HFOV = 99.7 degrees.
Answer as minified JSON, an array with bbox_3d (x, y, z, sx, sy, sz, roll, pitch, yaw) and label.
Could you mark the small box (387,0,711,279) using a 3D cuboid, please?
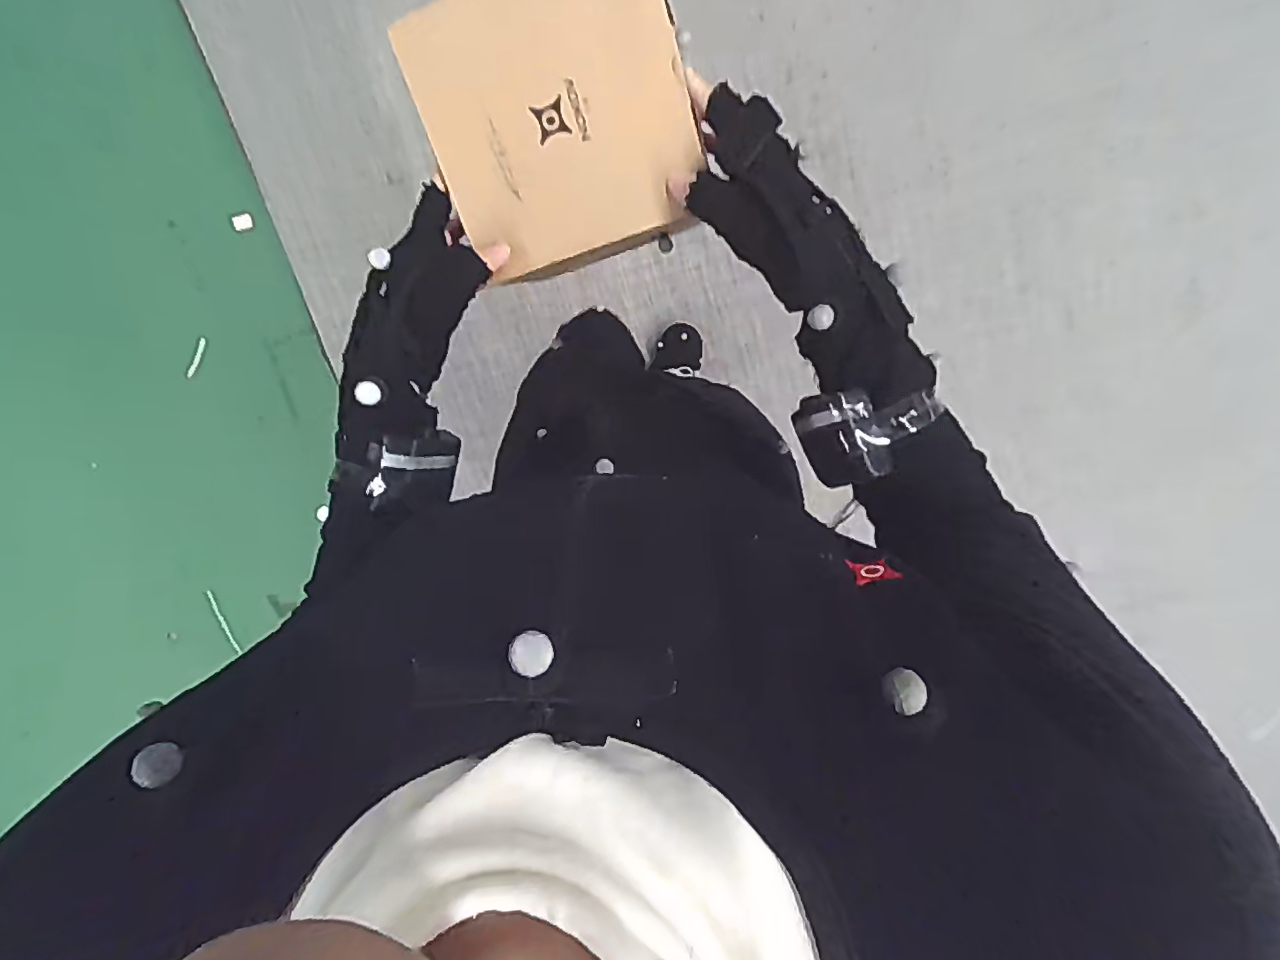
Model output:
[{"bbox_3d":[-0.051,-0.273,0.430,0.179,0.176,0.168,-16,109,13],"label":"small box"}]
